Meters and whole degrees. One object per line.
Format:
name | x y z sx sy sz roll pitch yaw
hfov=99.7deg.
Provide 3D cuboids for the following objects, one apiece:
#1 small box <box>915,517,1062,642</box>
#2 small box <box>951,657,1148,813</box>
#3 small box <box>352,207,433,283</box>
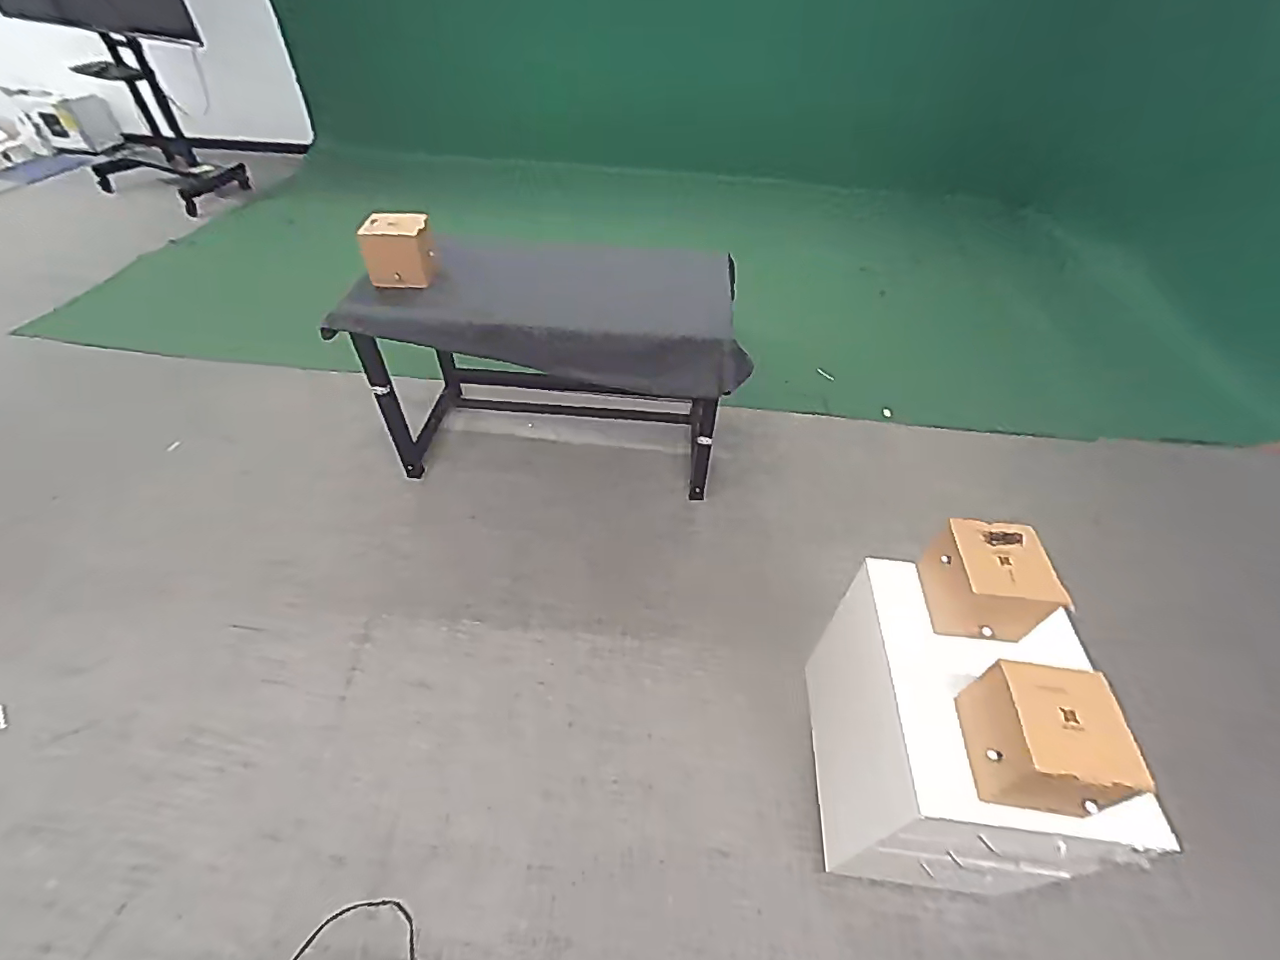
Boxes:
small box | 0.680 0.200 1.083 0.168 0.176 0.179 6 49 2
small box | 0.644 0.418 0.881 0.168 0.176 0.179 8 45 2
small box | -0.769 -0.738 1.705 0.179 0.176 0.168 1 46 -4
